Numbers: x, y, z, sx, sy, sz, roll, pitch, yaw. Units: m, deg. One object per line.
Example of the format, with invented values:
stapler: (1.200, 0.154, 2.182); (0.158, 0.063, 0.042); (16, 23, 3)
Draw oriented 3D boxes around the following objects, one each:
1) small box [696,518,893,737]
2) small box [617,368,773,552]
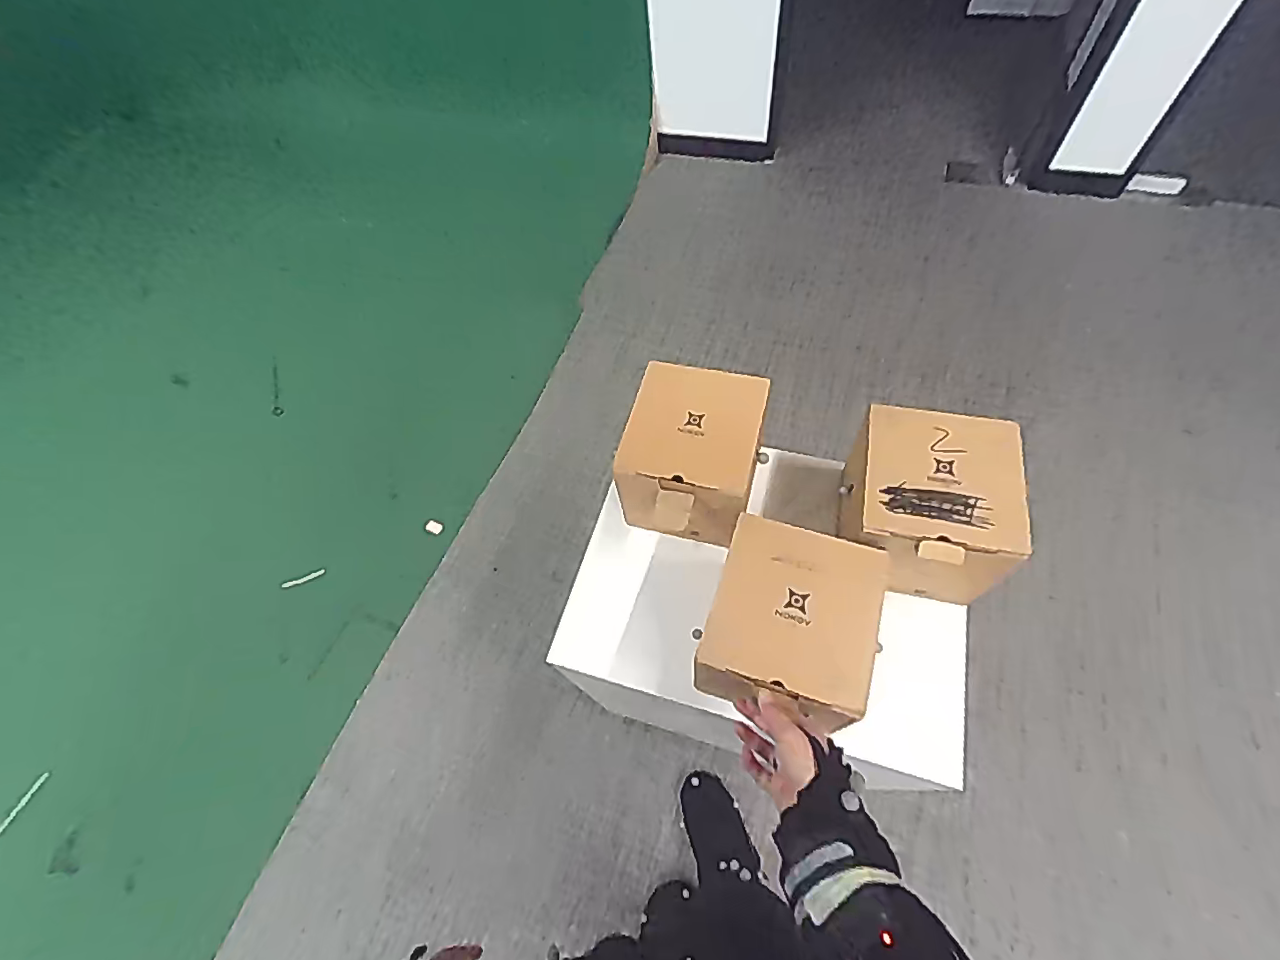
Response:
small box: (0.170, 0.175, 0.620); (0.168, 0.176, 0.179); (16, 62, 15)
small box: (0.078, -0.024, 0.747); (0.168, 0.176, 0.179); (12, 64, 12)
